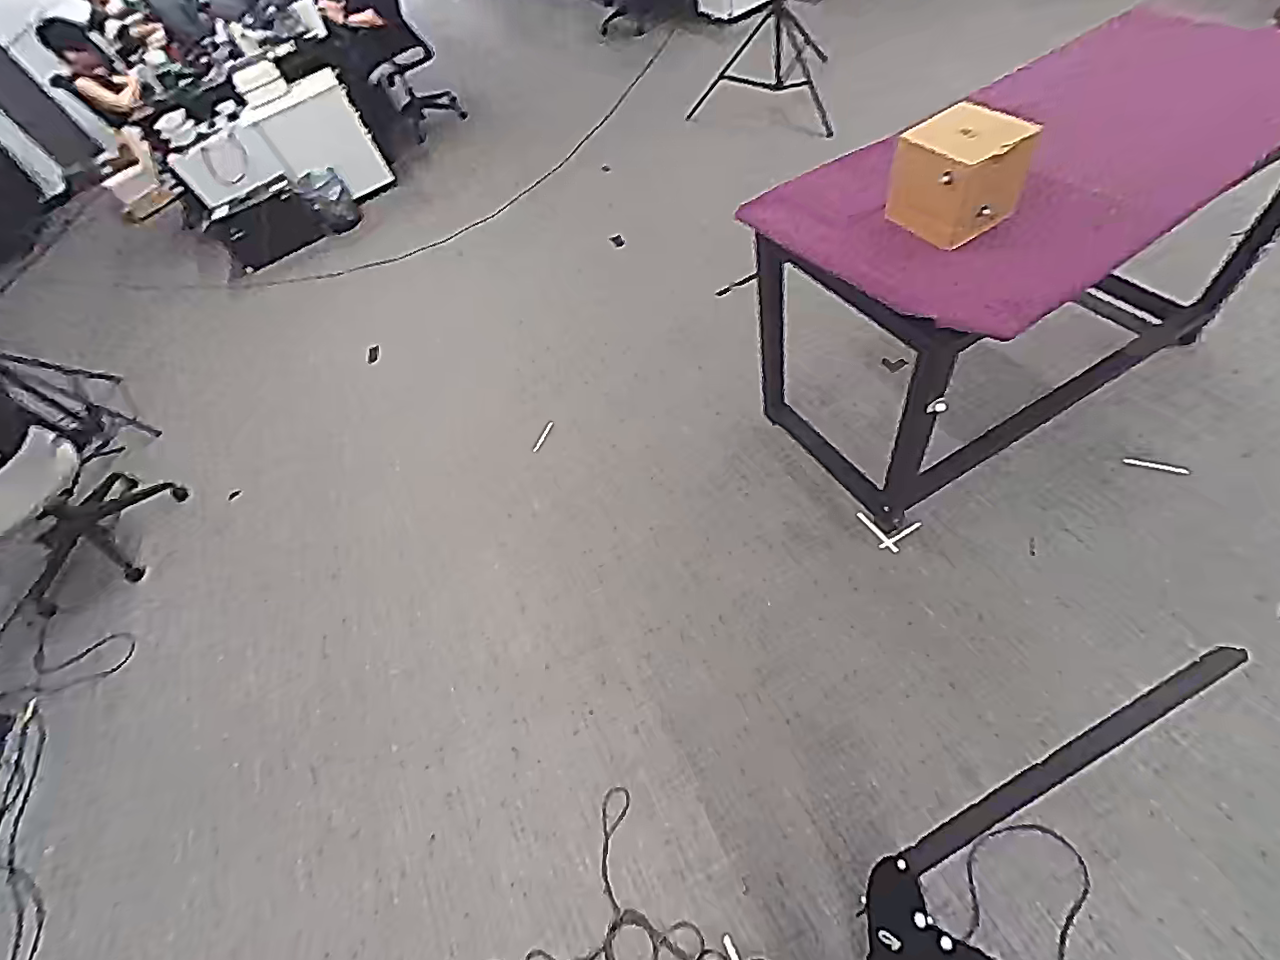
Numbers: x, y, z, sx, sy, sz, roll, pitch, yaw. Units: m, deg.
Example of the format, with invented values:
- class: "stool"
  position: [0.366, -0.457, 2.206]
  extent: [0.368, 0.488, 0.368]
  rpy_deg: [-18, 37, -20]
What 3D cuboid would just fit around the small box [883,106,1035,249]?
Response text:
- class: "small box"
  position: [0.607, -0.588, 1.059]
  extent: [0.168, 0.176, 0.179]
  rpy_deg: [-31, 55, -8]
